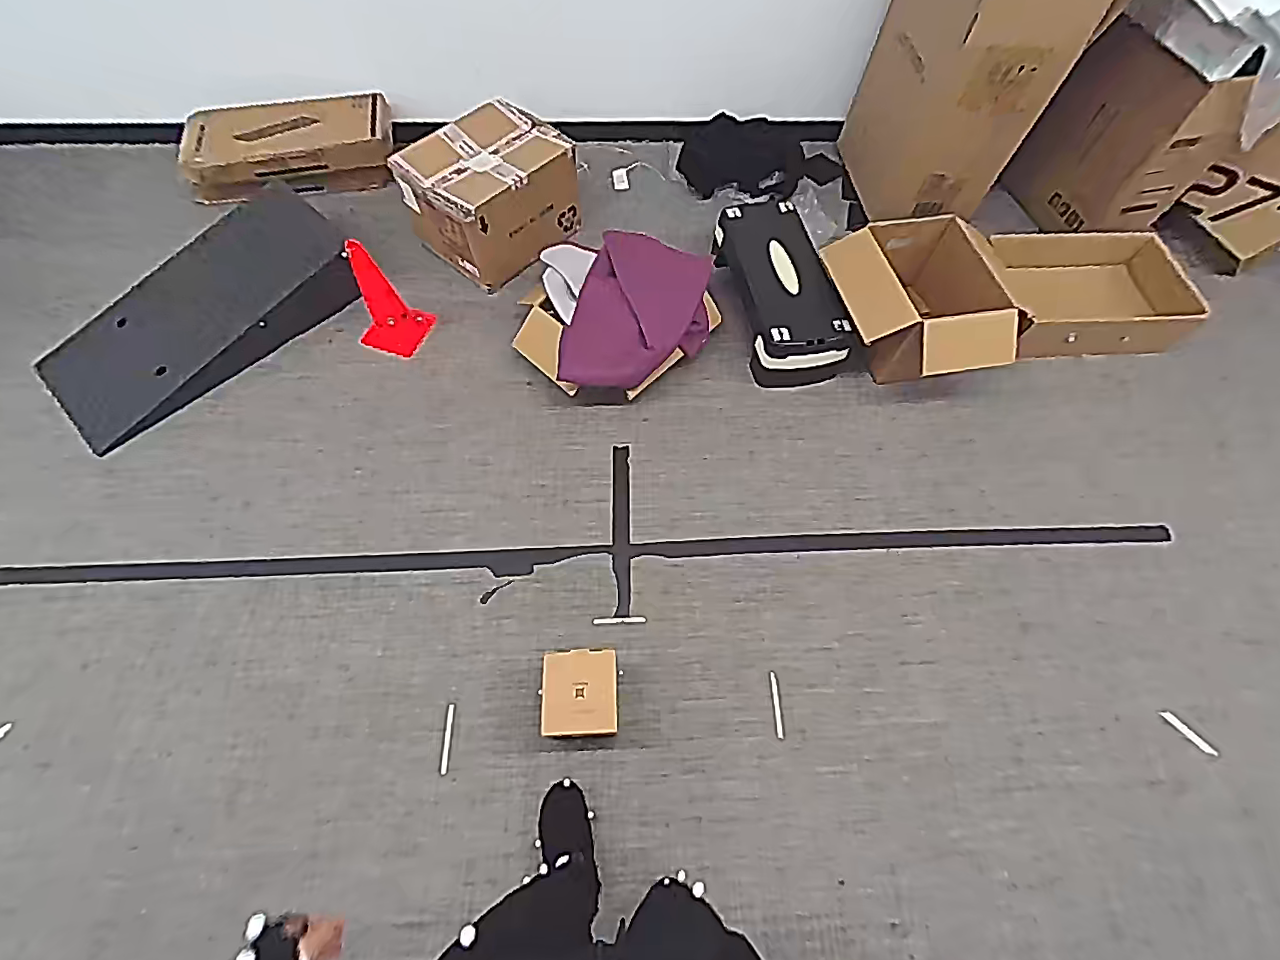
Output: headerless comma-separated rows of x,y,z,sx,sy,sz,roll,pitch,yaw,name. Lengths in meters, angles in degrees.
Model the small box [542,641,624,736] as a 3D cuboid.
-0.121,0.461,1.186,0.168,0.176,0.179,-3,64,-2,small box
